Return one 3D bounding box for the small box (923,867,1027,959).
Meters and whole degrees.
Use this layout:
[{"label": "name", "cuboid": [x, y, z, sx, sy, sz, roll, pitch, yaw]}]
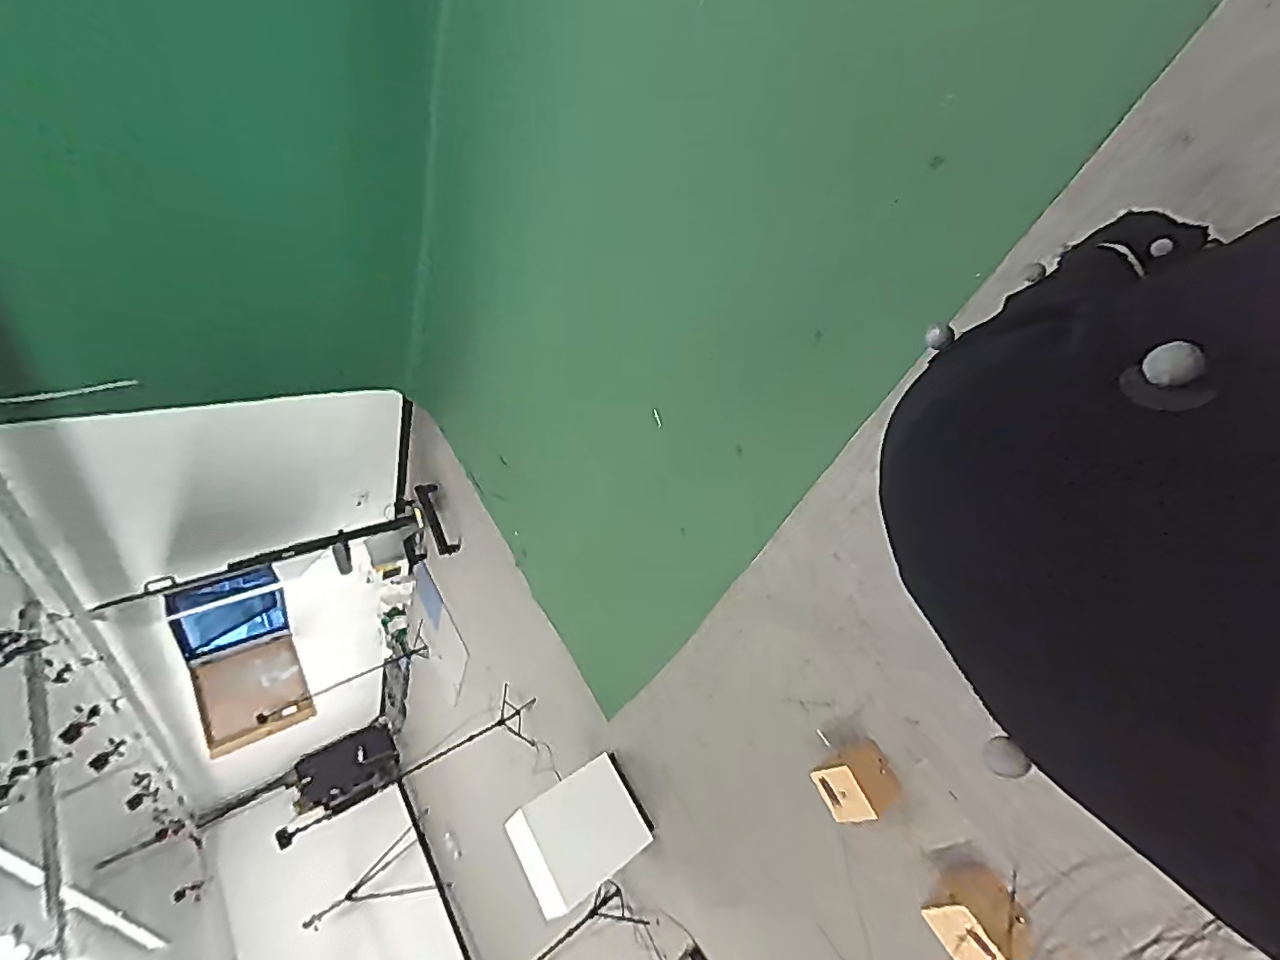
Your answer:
[{"label": "small box", "cuboid": [0.964, 1.247, 1.547, 0.168, 0.176, 0.179, 55, 138, 23]}]
